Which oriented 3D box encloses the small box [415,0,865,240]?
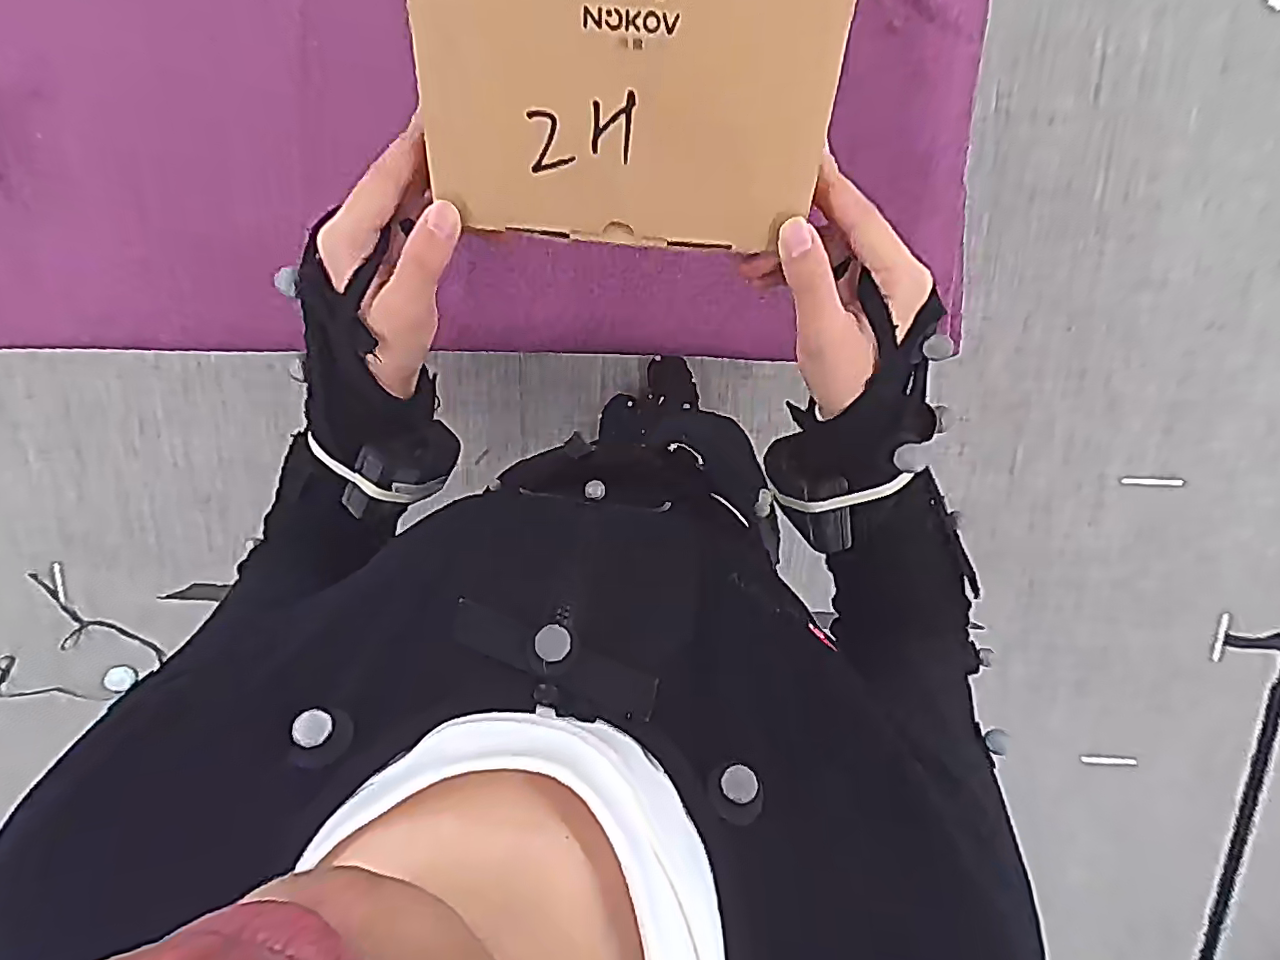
[{"bbox_3d":[0.003,-0.227,0.257,0.168,0.176,0.179,6,122,0],"label":"small box"}]
